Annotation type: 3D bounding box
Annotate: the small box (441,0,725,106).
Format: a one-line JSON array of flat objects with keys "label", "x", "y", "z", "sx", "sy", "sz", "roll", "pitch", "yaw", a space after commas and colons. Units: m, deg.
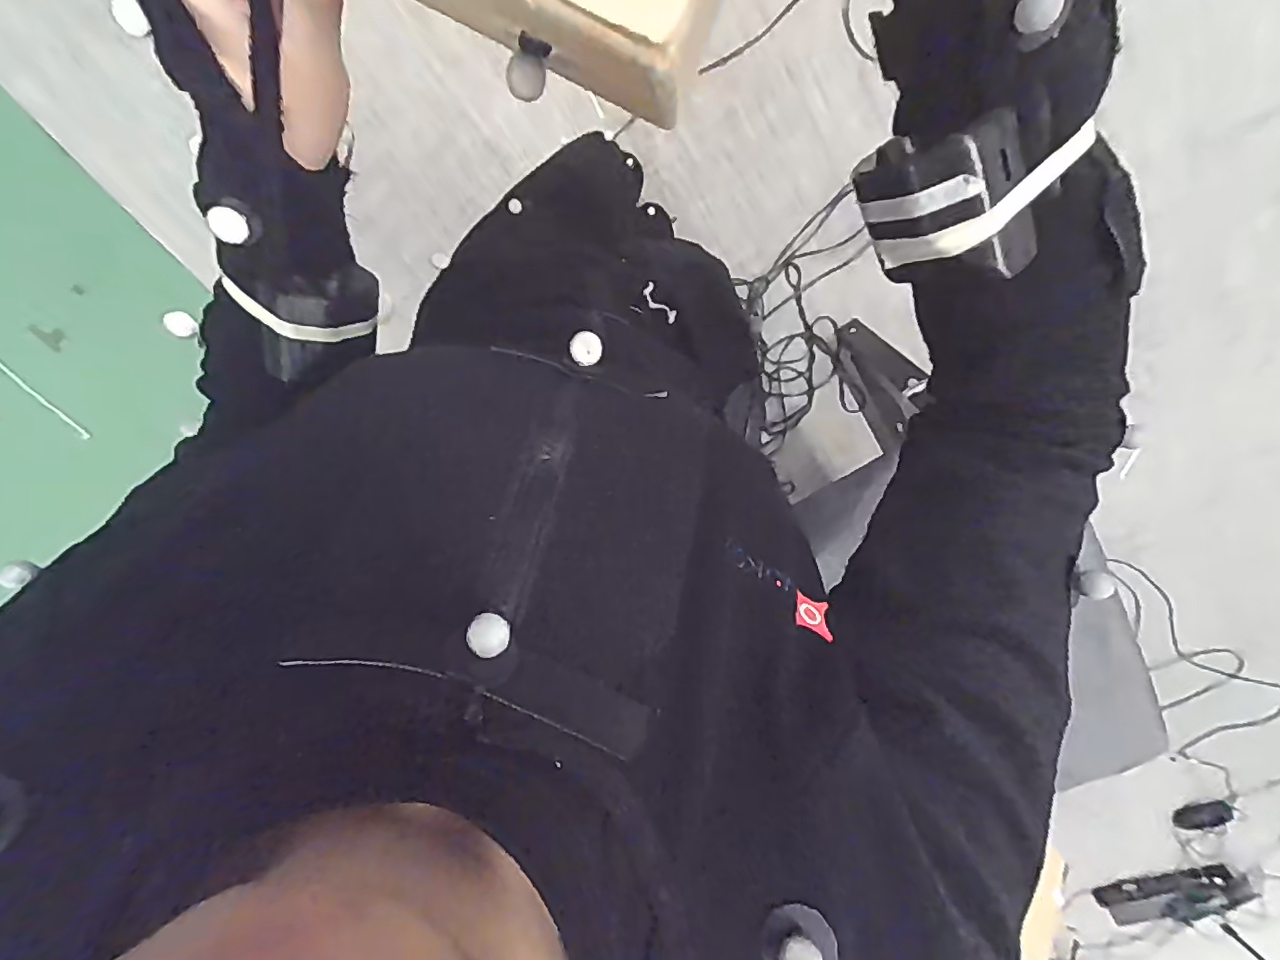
[{"label": "small box", "x": -0.029, "y": -0.220, "z": 0.124, "sx": 0.168, "sy": 0.176, "sz": 0.179, "roll": 21, "pitch": 118, "yaw": -9}]
